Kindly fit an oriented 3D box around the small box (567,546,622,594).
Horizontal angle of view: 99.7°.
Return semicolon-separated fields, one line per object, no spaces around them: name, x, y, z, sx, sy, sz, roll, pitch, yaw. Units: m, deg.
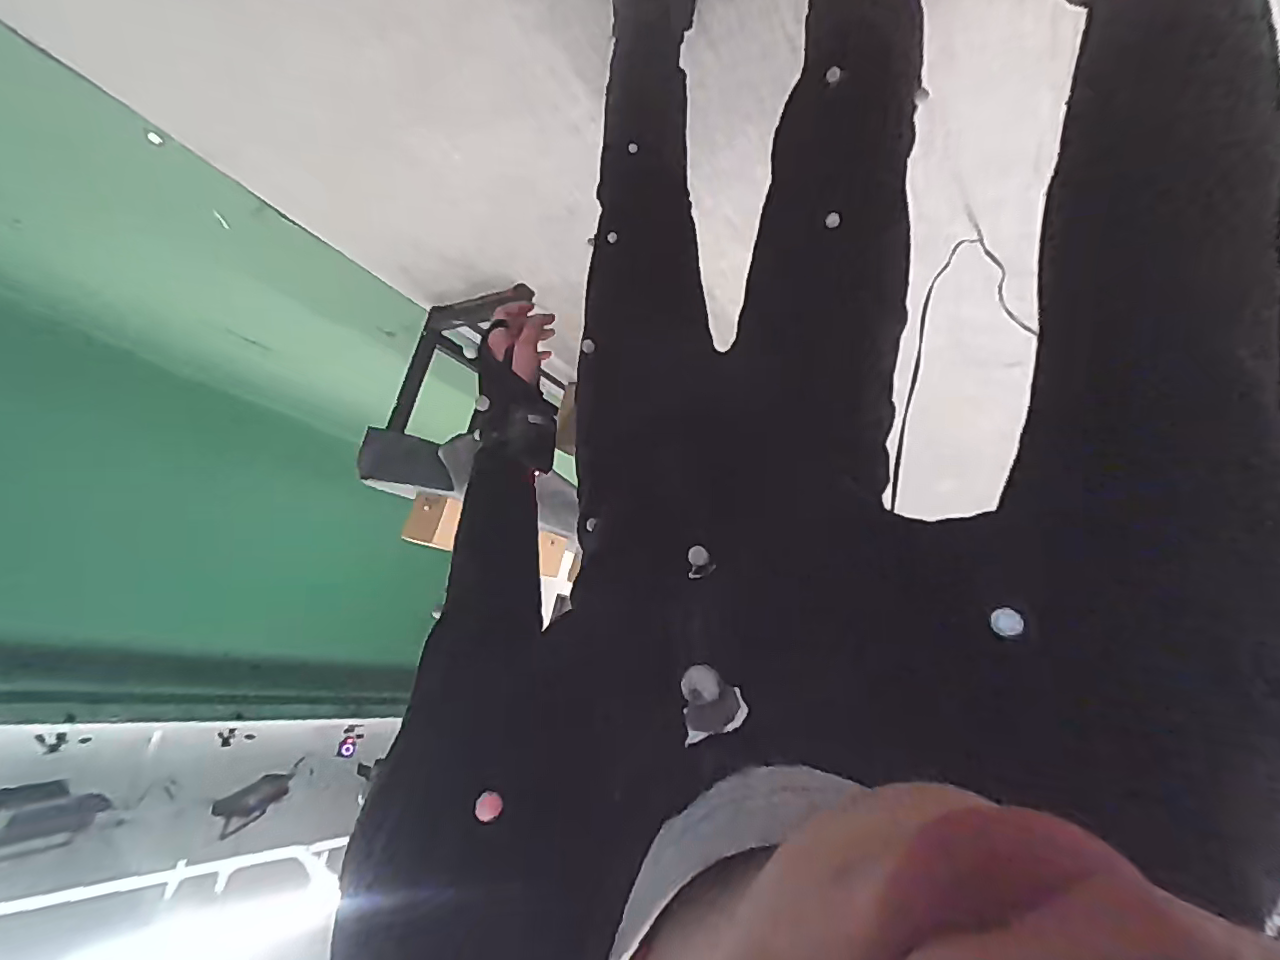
small box;-0.201;0.407;2.466;0.179;0.176;0.168;5;162;45

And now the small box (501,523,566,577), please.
small box;-0.430;0.284;2.203;0.168;0.176;0.179;6;164;35

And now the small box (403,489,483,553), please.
small box;-0.679;0.142;1.881;0.168;0.176;0.179;7;164;31
